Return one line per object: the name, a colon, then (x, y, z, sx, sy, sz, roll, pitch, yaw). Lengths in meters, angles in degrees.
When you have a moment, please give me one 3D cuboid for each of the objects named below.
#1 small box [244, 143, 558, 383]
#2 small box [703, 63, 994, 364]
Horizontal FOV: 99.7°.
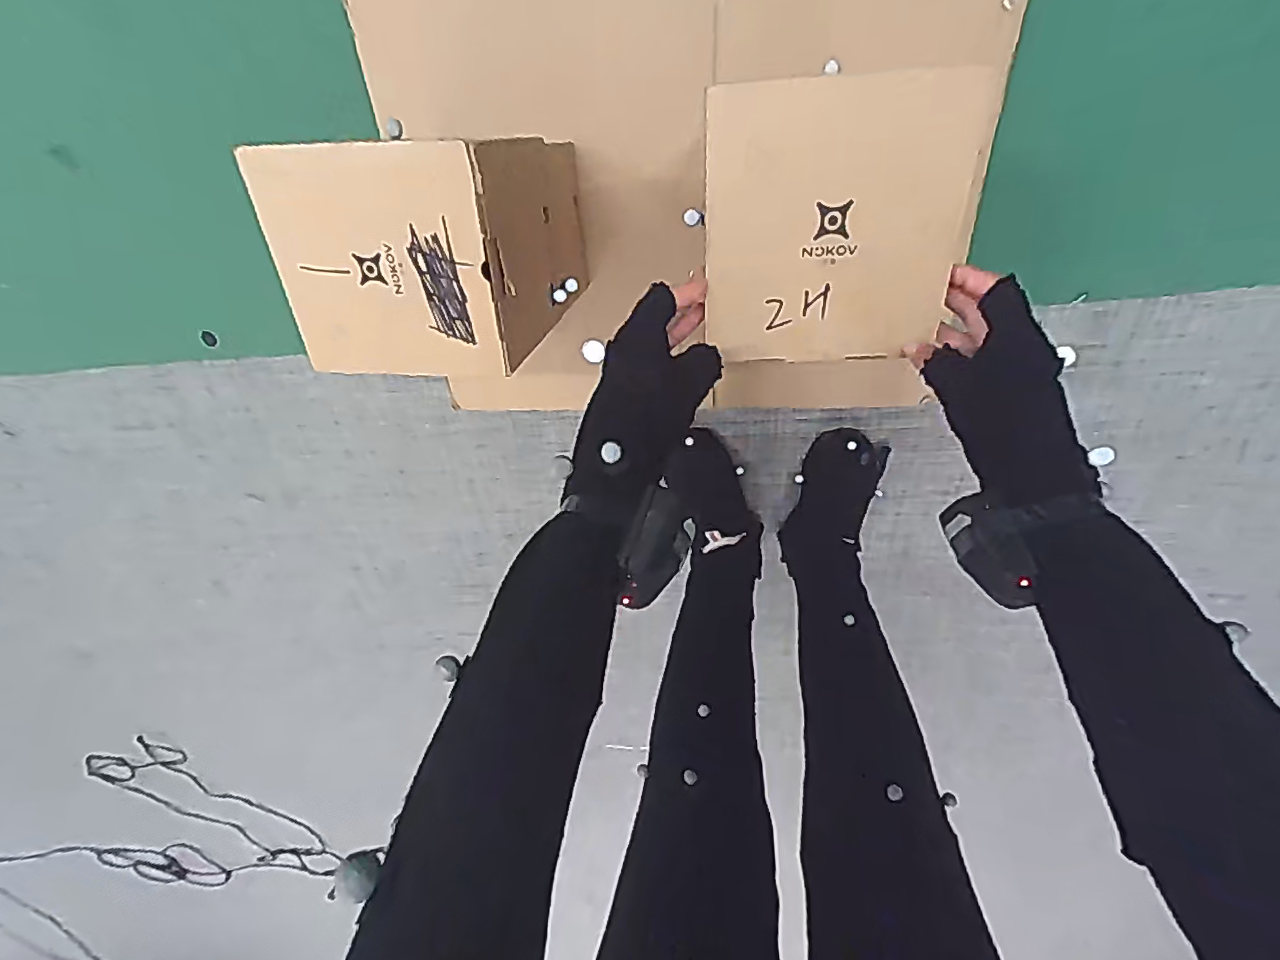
small box: (-0.177, -0.195, 0.472, 0.179, 0.176, 0.168, 4, 122, 8)
small box: (0.134, -0.203, 0.426, 0.168, 0.176, 0.179, 0, 122, 7)
